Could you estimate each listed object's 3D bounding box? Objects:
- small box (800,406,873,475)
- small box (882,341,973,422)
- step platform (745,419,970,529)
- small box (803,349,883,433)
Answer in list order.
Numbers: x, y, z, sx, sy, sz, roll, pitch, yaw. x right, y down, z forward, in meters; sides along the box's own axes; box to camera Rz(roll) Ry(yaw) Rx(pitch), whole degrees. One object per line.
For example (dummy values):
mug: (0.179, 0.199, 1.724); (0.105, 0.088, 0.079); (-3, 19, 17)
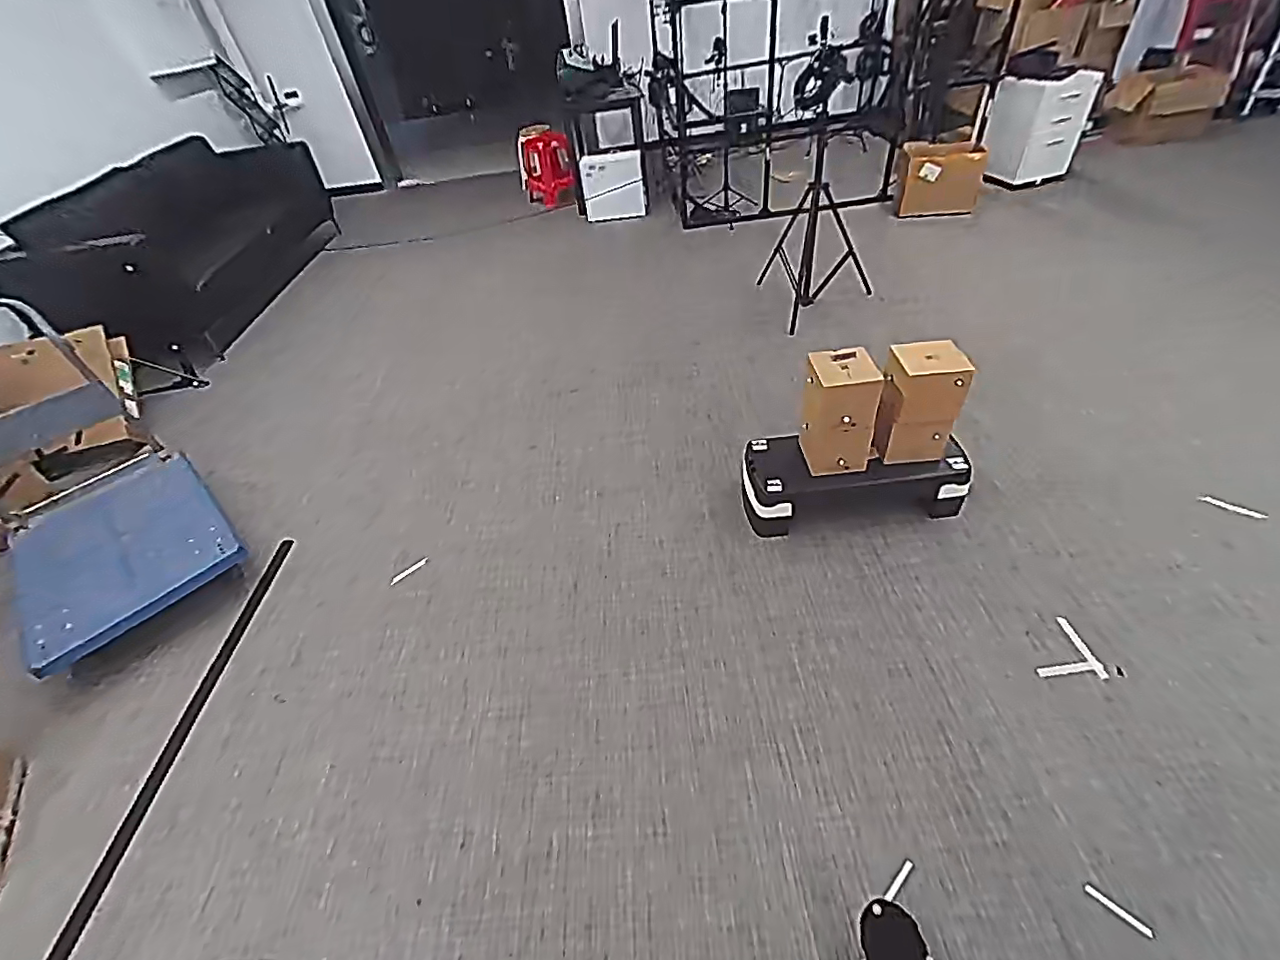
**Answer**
small box: (0.602, -0.137, 1.684); (0.168, 0.176, 0.179); (-6, 43, 4)
small box: (0.817, -0.280, 1.560); (0.179, 0.176, 0.168); (-5, 43, 4)
step platform: (0.705, -0.034, 1.812); (0.684, 0.204, 0.286); (-8, 43, 3)
small box: (0.580, -0.258, 1.575); (0.168, 0.176, 0.179); (-6, 43, 3)
